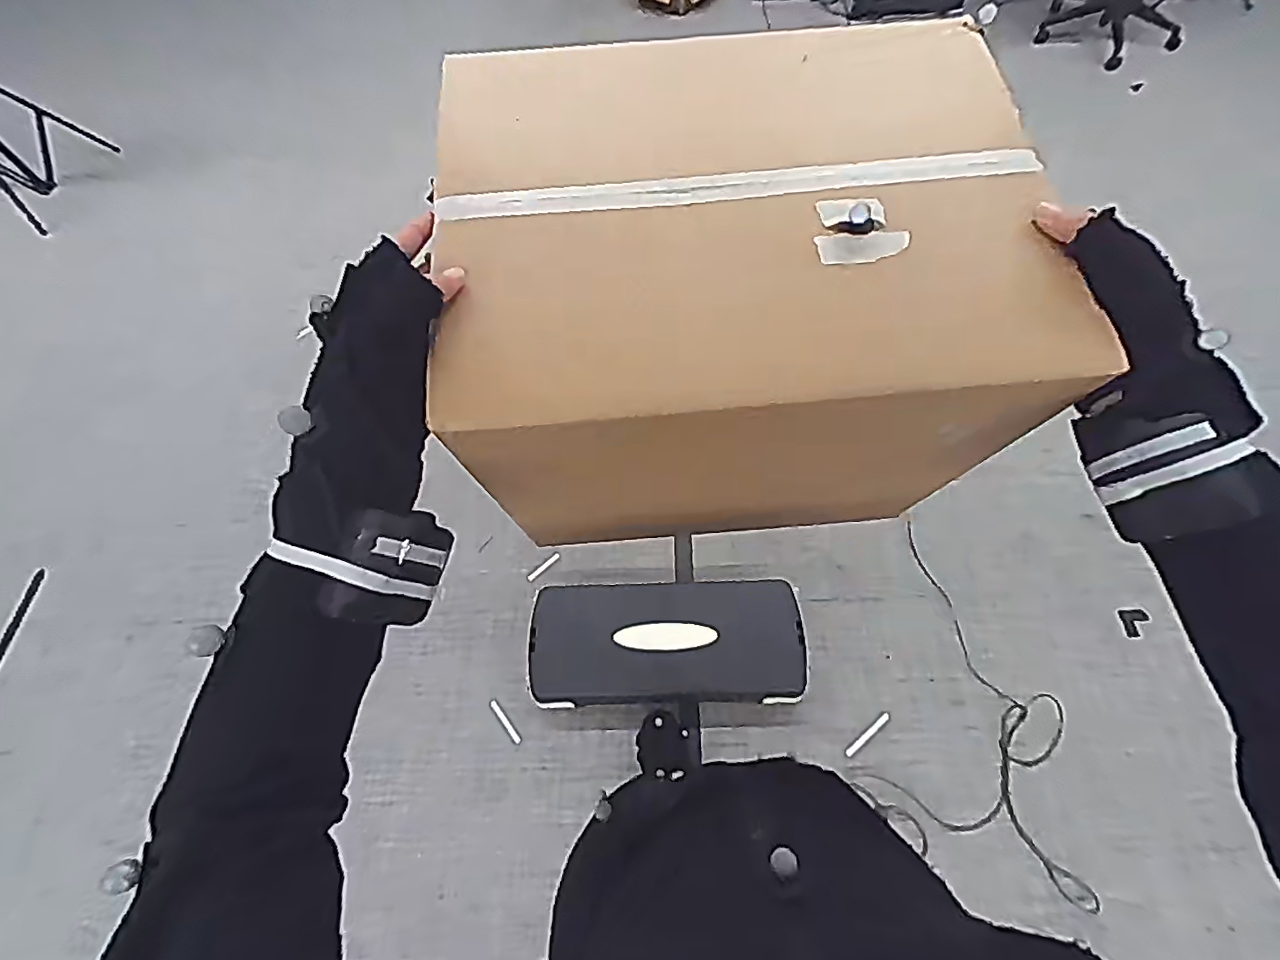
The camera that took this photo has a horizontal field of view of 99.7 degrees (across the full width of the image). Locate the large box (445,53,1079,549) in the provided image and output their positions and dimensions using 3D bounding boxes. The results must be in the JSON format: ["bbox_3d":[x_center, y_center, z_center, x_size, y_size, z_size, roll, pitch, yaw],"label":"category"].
[{"bbox_3d":[0.063,-0.135,0.522,0.408,0.320,0.320,-5,70,-1],"label":"large box"}]
